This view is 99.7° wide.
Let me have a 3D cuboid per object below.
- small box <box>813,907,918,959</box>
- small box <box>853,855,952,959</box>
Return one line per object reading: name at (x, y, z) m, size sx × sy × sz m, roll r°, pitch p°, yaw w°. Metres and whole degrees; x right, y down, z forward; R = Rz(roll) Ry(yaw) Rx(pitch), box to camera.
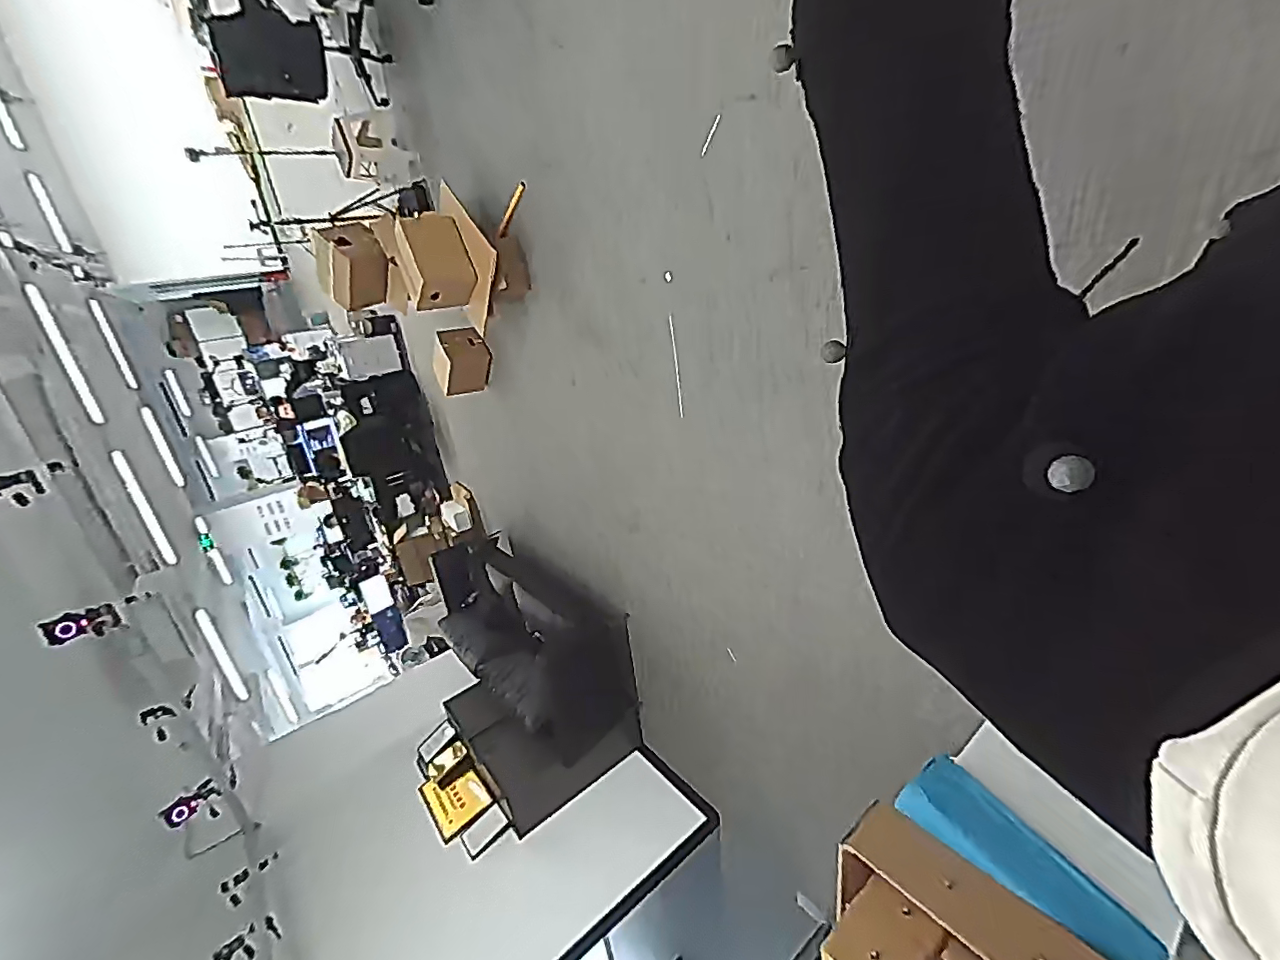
small box at (0.536, 1.174, 1.288) m, size 0.179 × 0.176 × 0.168 m, roll 20°, pitch 126°, yaw 48°
small box at (0.663, 1.116, 1.374) m, size 0.179 × 0.176 × 0.168 m, roll 22°, pitch 128°, yaw 47°
